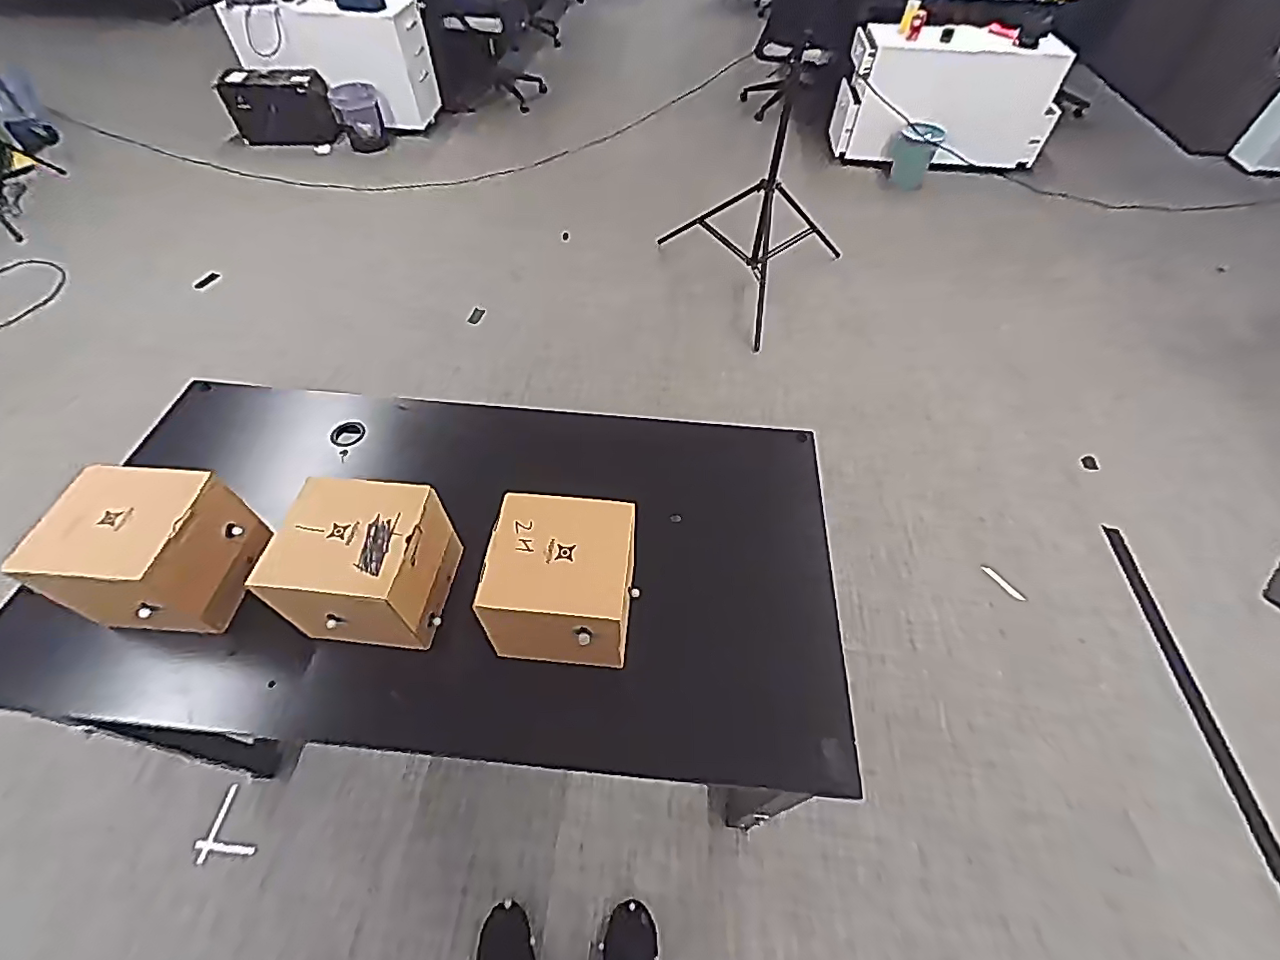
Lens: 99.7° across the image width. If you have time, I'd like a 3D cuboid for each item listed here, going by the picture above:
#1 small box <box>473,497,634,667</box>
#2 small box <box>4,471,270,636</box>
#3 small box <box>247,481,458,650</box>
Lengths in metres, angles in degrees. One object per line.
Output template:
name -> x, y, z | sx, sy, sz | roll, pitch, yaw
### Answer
small box -> -0.103, 0.143, 0.735 | 0.179, 0.176, 0.168 | 4, 52, 3
small box -> -0.667, 0.106, 0.751 | 0.179, 0.176, 0.168 | 2, 52, 1
small box -> -0.373, 0.122, 0.745 | 0.179, 0.176, 0.168 | 5, 53, 3
